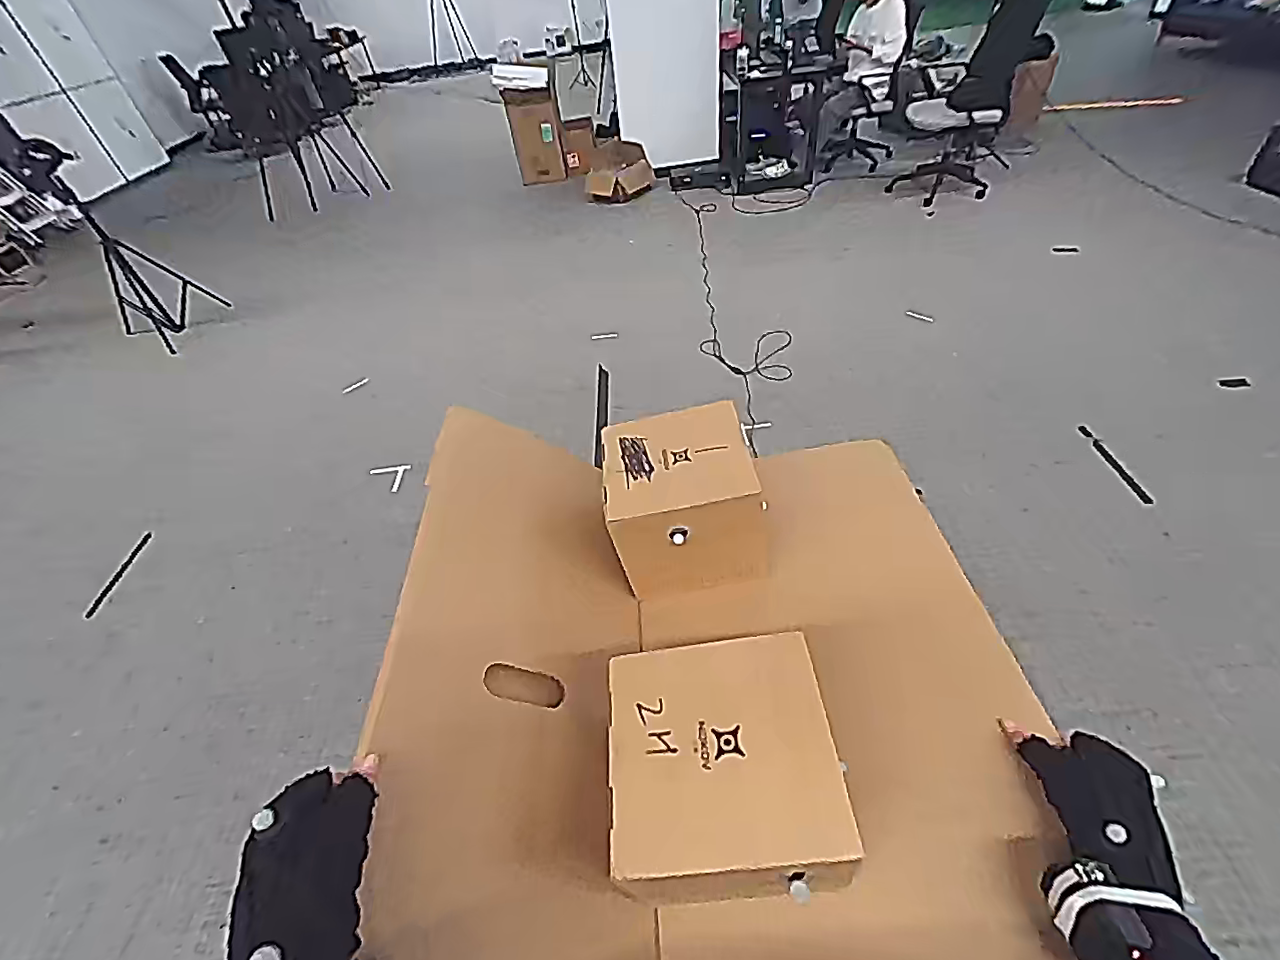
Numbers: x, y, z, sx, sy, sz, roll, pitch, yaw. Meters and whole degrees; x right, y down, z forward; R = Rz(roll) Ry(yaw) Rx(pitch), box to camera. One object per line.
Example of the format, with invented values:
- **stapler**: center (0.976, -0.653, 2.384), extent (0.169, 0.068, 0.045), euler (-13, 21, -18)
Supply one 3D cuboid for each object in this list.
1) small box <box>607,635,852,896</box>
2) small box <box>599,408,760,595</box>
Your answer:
- **small box**: center (0.075, 0.263, 0.491), extent (0.179, 0.176, 0.168), euler (-10, 46, 8)
- **small box**: center (0.053, 0.034, 0.714), extent (0.179, 0.176, 0.168), euler (-11, 46, 5)
